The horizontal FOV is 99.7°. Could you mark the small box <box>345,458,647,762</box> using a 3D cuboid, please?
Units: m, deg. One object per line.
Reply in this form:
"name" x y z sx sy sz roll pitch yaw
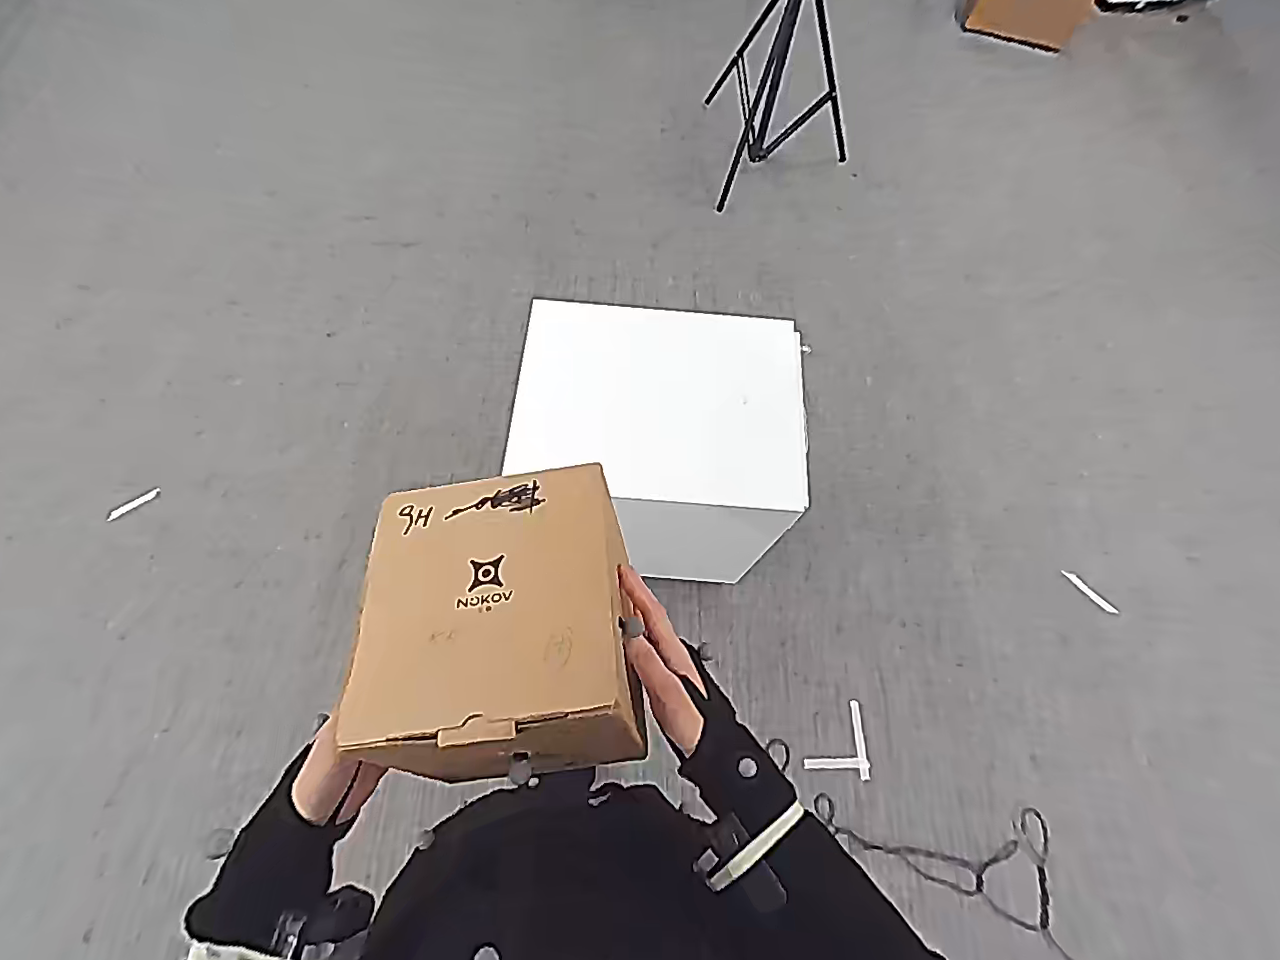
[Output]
"small box" -0.090 0.110 0.420 0.168 0.176 0.179 -9 55 1
